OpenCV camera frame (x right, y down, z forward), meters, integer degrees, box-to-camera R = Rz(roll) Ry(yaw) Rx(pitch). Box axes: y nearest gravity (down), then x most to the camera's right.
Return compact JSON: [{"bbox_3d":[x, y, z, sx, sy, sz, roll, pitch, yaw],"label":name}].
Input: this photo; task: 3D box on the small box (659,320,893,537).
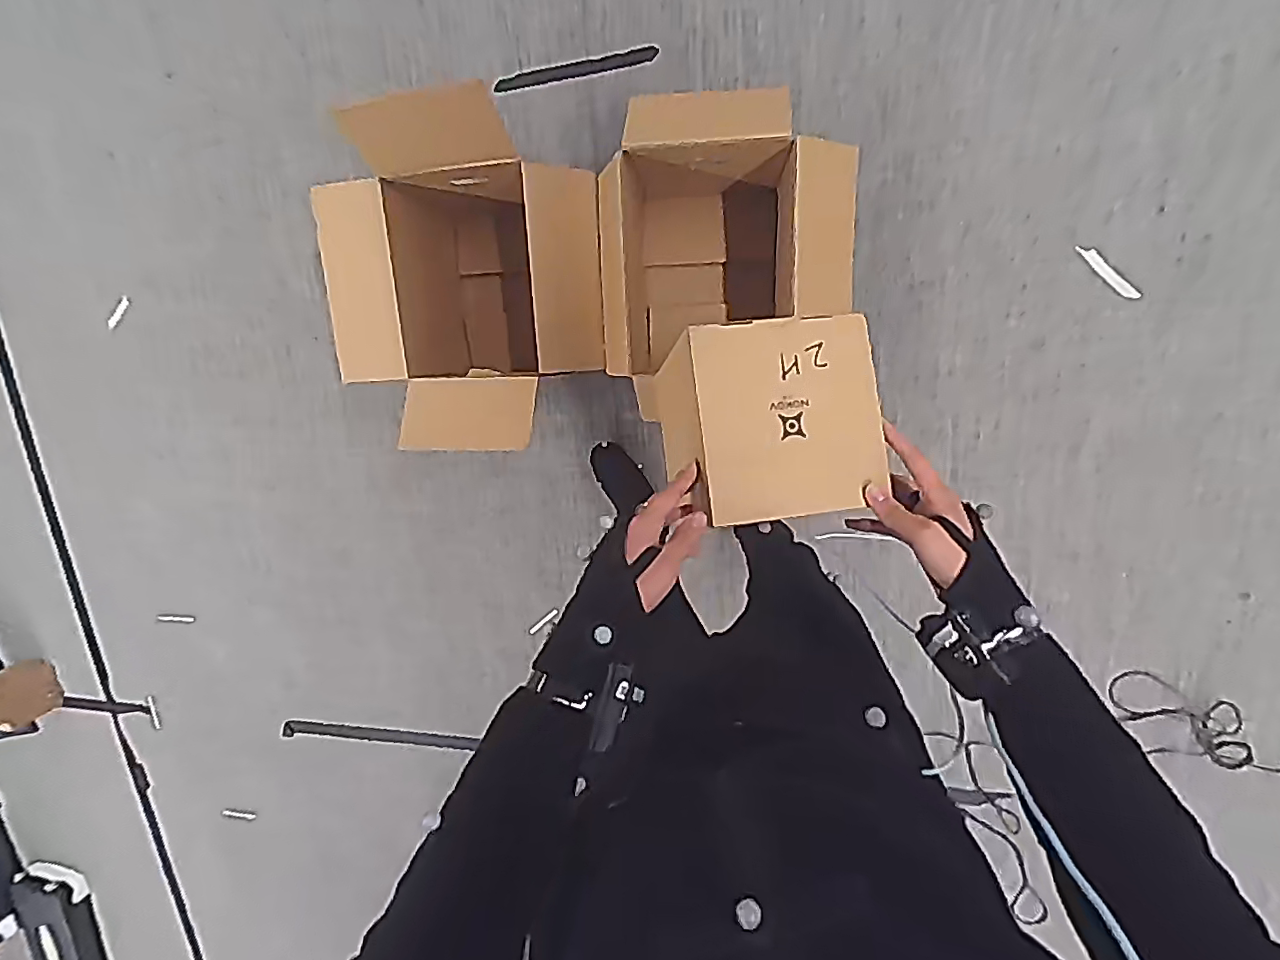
[{"bbox_3d":[0.119,-0.043,0.538,0.168,0.176,0.179,-6,87,-9],"label":"small box"}]
